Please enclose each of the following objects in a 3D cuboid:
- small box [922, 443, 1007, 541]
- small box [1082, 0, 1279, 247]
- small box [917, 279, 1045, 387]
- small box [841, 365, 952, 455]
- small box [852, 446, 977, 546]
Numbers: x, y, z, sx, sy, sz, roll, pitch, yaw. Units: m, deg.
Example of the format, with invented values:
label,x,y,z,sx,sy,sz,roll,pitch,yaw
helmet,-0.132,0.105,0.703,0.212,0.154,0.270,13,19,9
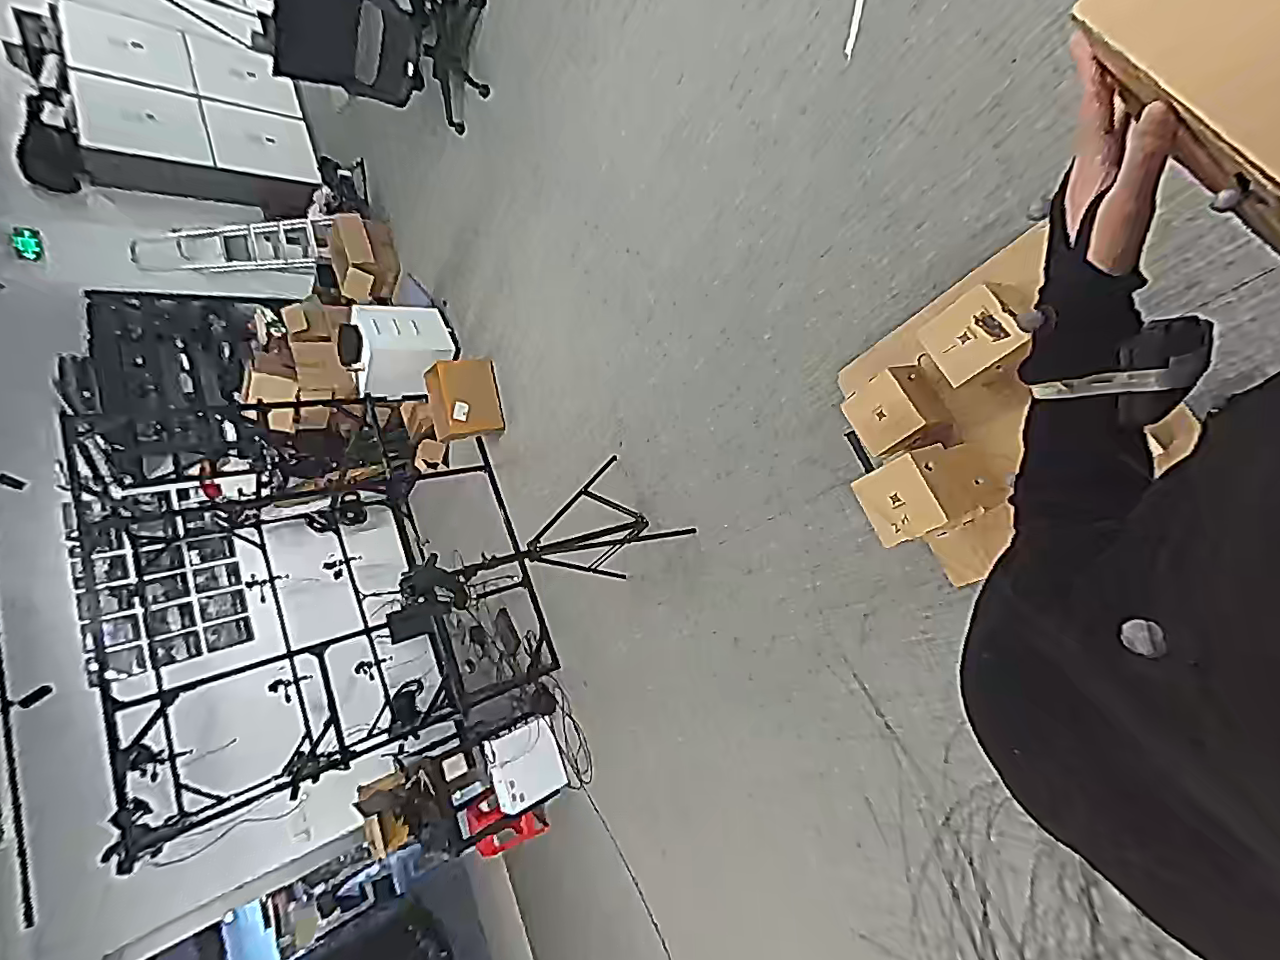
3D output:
label,x,y,z,sx,sy,sz,roll,pitch,yaw
small box,0.777,0.026,1.361,0.168,0.176,0.179,-45,66,46
small box,0.364,-0.226,0.251,0.168,0.176,0.179,-43,54,44
small box,0.791,-0.336,1.247,0.179,0.176,0.168,-45,65,47
small box,0.678,-0.187,1.430,0.168,0.176,0.179,-47,64,47
small box,0.641,0.033,1.264,0.168,0.176,0.179,-41,68,49
